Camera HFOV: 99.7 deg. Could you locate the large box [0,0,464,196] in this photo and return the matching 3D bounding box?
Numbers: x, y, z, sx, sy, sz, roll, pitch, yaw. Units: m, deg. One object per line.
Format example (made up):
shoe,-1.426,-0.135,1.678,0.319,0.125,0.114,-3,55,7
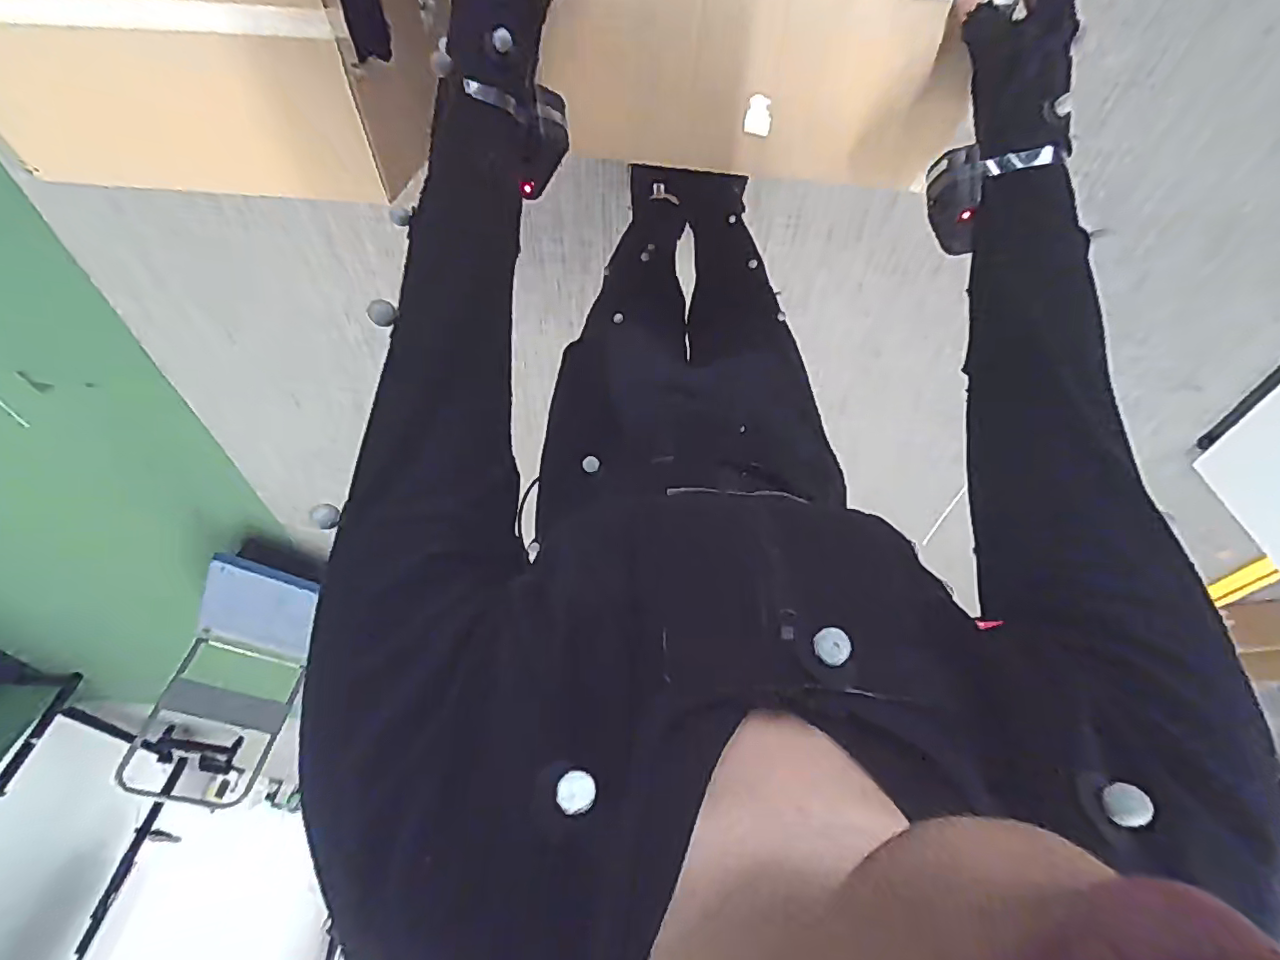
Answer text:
large box,-0.456,-0.542,0.577,0.408,0.320,0.320,6,141,2
